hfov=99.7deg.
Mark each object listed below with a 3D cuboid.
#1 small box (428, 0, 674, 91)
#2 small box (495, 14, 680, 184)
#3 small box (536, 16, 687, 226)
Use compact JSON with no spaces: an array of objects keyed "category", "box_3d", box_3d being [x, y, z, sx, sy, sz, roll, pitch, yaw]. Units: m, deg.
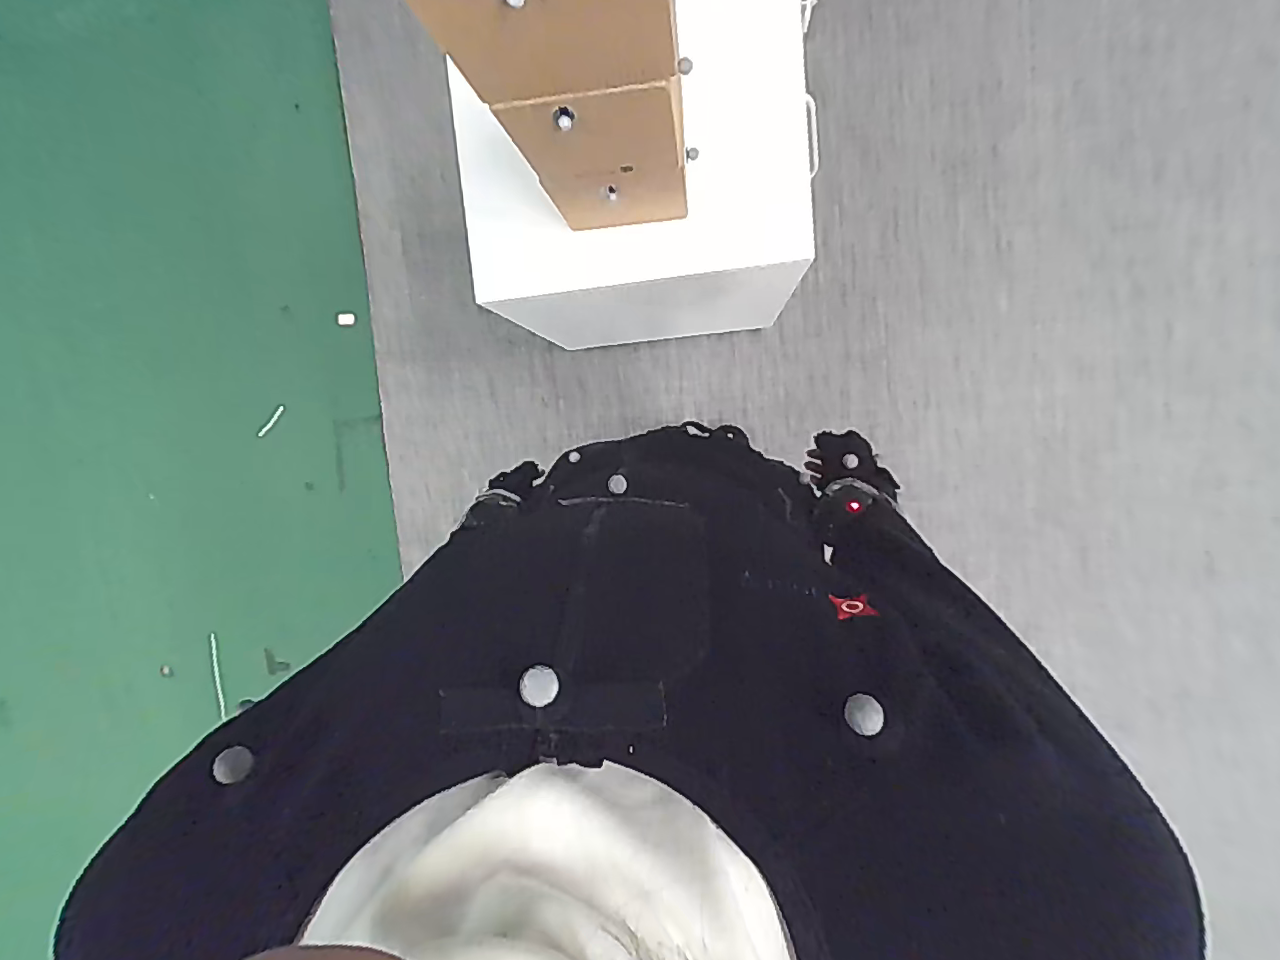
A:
[{"category":"small box","box_3d":[-0.071,-0.415,0.386,0.179,0.176,0.168,-2,97,7]},{"category":"small box","box_3d":[-0.048,-0.435,0.550,0.168,0.176,0.179,-5,96,7]},{"category":"small box","box_3d":[-0.032,-0.451,0.709,0.179,0.176,0.168,-3,96,7]}]
